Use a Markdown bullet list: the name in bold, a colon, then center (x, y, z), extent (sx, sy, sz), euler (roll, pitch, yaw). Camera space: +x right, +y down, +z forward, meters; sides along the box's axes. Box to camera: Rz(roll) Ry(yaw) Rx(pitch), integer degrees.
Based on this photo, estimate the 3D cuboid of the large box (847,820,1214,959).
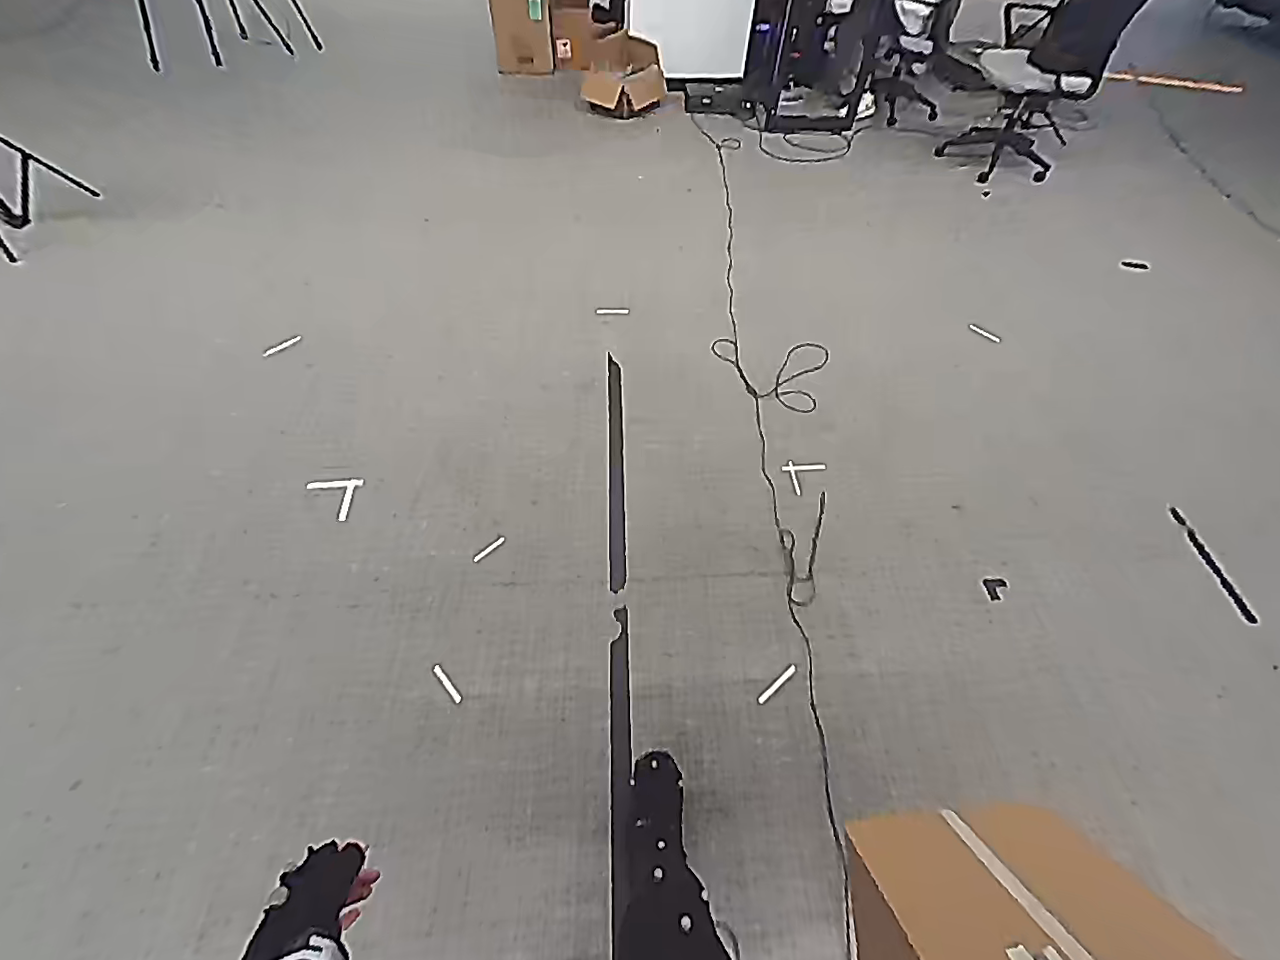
- **large box**: center (0.474, 0.674, 0.623), extent (0.320, 0.408, 0.320), euler (-5, 90, 0)
